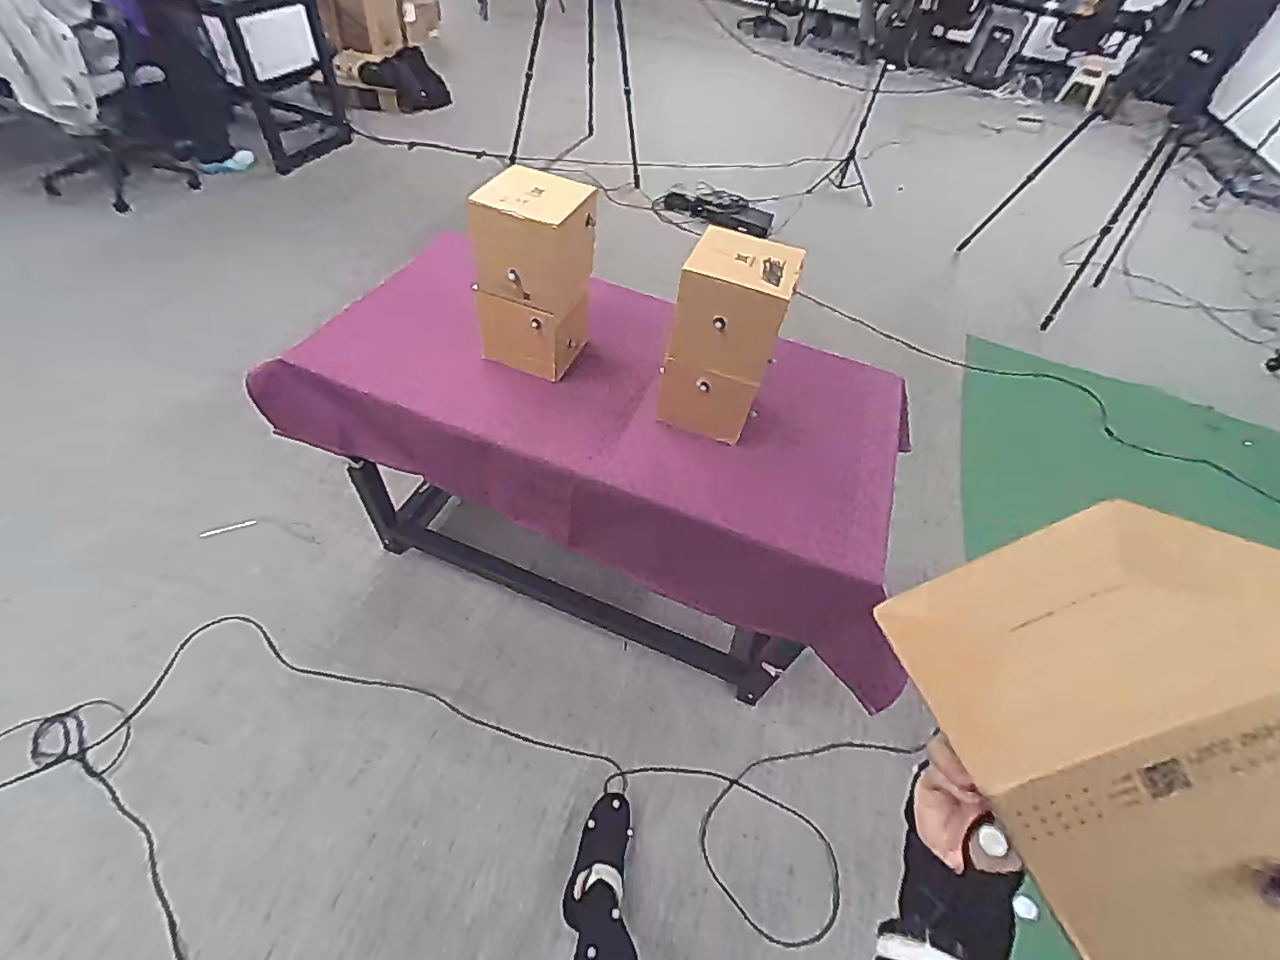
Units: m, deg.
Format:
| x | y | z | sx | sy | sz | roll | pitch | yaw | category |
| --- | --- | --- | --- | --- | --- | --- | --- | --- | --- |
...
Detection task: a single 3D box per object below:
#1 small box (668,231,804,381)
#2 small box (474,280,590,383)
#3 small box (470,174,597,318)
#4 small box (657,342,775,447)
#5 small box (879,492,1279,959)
| x | y | z | sx | sy | sz | roll | pitch | yaw | category |
| --- | --- | --- | --- | --- | --- | --- | --- | --- | --- |
| 0.161 | -0.297 | 0.939 | 0.179 | 0.176 | 0.168 | 19 | 51 | 9 | small box |
| -0.219 | -0.327 | 1.126 | 0.179 | 0.176 | 0.168 | 19 | 50 | 7 | small box |
| -0.192 | -0.432 | 1.001 | 0.168 | 0.176 | 0.179 | 19 | 50 | 7 | small box |
| 0.144 | -0.192 | 1.064 | 0.179 | 0.176 | 0.168 | 20 | 51 | 8 | small box |
| 0.259 | 0.127 | 0.291 | 0.168 | 0.179 | 0.176 | -30 | 95 | 13 | small box |
